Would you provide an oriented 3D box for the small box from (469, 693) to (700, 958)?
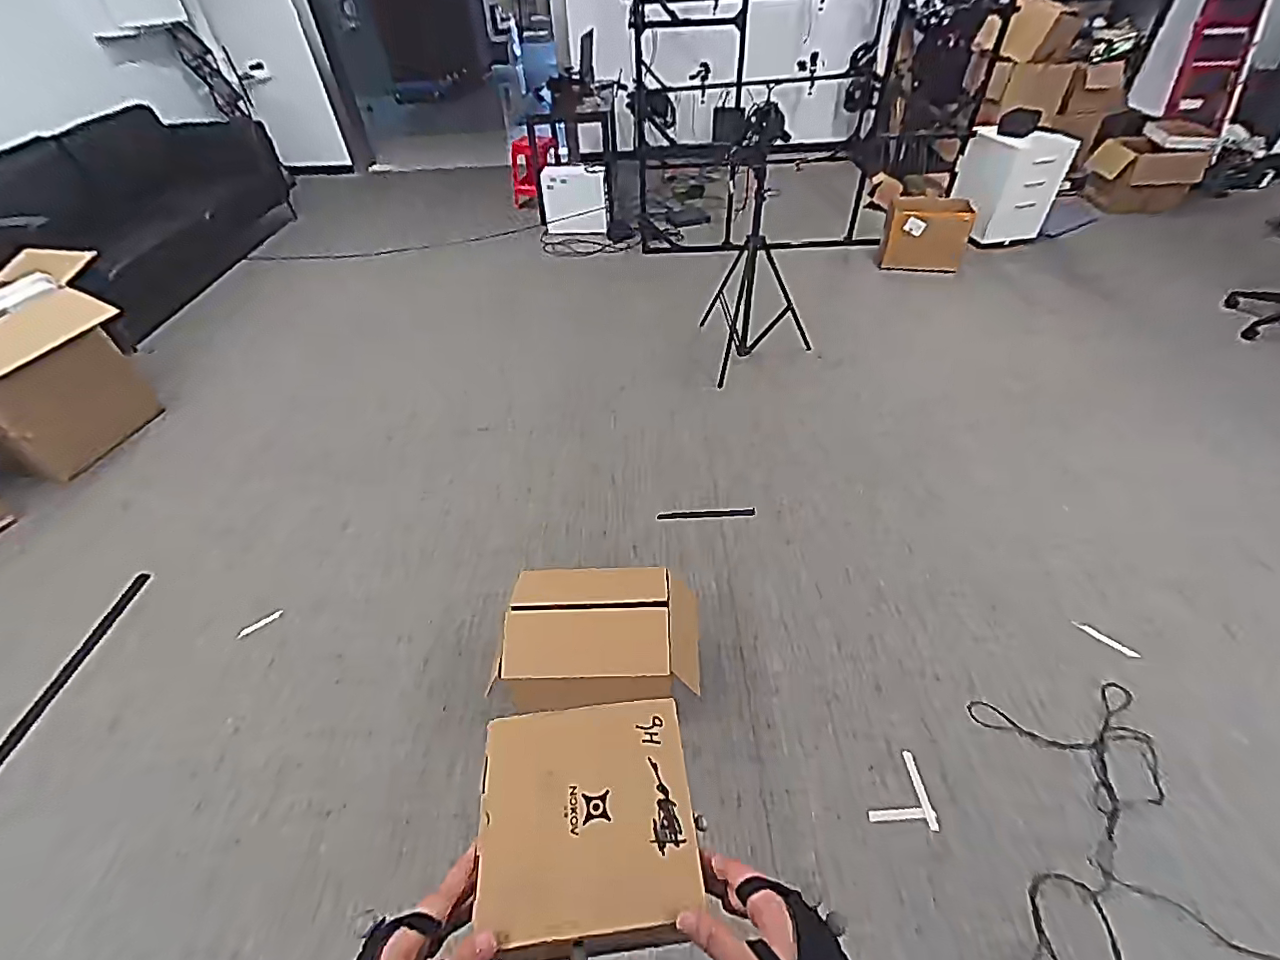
[{"bbox_3d":[-0.045,0.326,0.509,0.179,0.176,0.168,-6,45,-4],"label":"small box"}]
